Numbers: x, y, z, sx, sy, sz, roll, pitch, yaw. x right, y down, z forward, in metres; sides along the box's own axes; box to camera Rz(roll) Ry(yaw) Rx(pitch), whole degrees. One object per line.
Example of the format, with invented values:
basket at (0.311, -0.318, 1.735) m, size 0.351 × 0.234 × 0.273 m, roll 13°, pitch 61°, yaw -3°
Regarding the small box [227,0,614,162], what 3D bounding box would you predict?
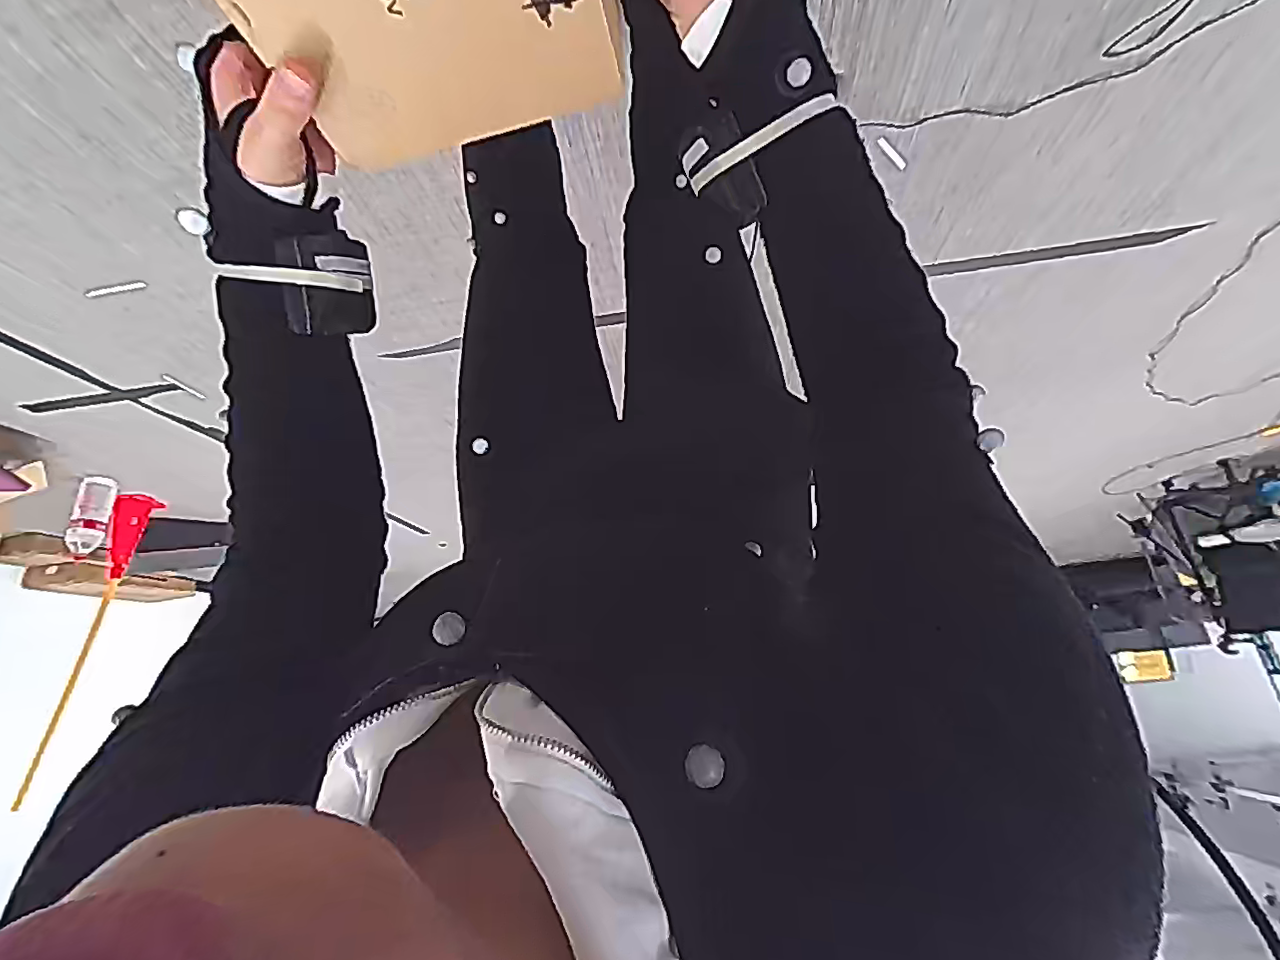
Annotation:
small box at (-0.115, -0.310, 0.278) m, size 0.179 × 0.176 × 0.168 m, roll -7°, pitch 155°, yaw 12°
